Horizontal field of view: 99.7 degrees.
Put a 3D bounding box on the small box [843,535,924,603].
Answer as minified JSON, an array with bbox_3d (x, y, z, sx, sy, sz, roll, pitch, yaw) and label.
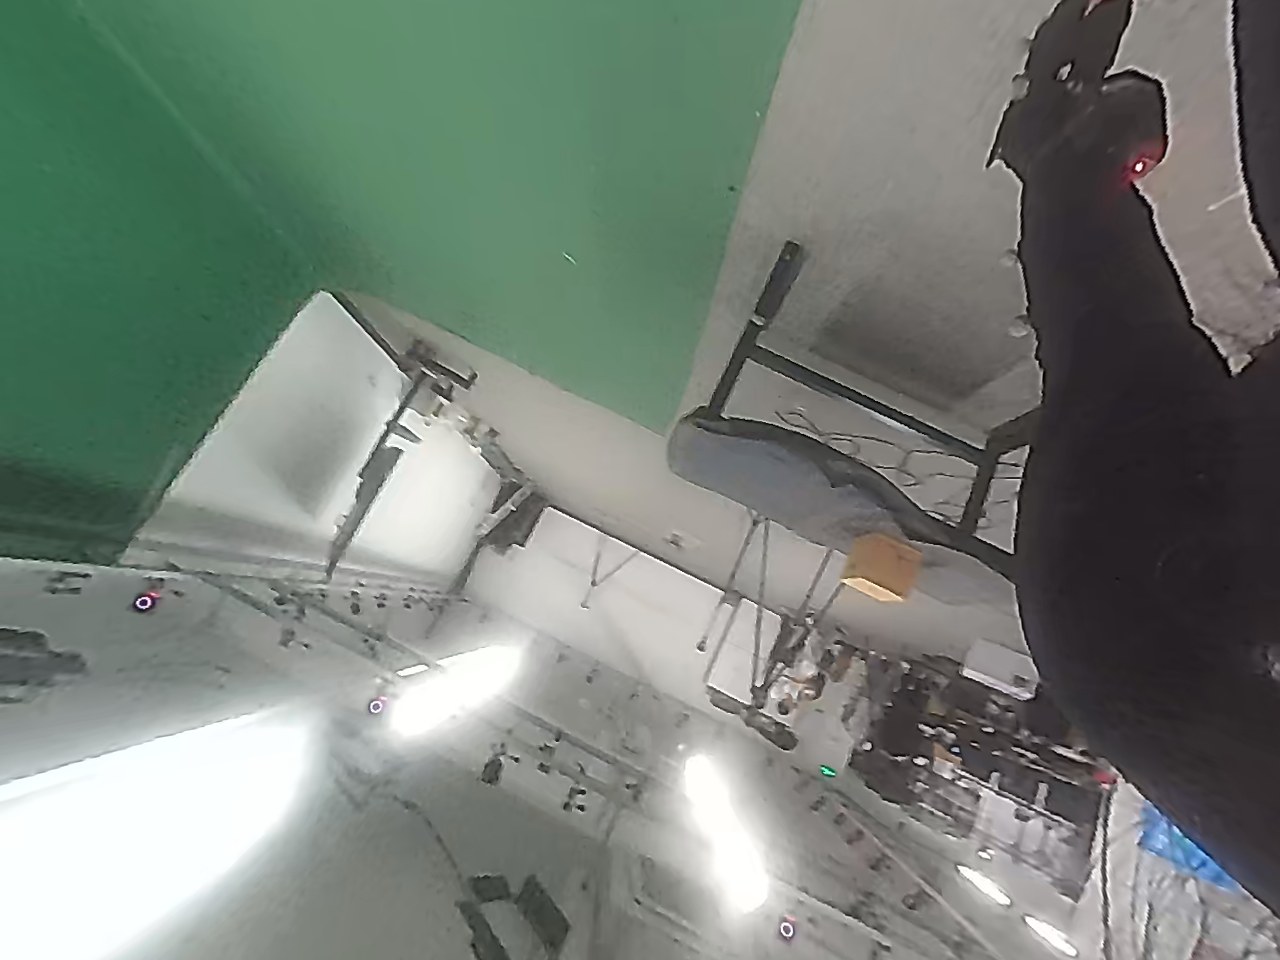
[{"bbox_3d":[0.816,0.299,1.811,0.168,0.176,0.179,26,167,4],"label":"small box"}]
